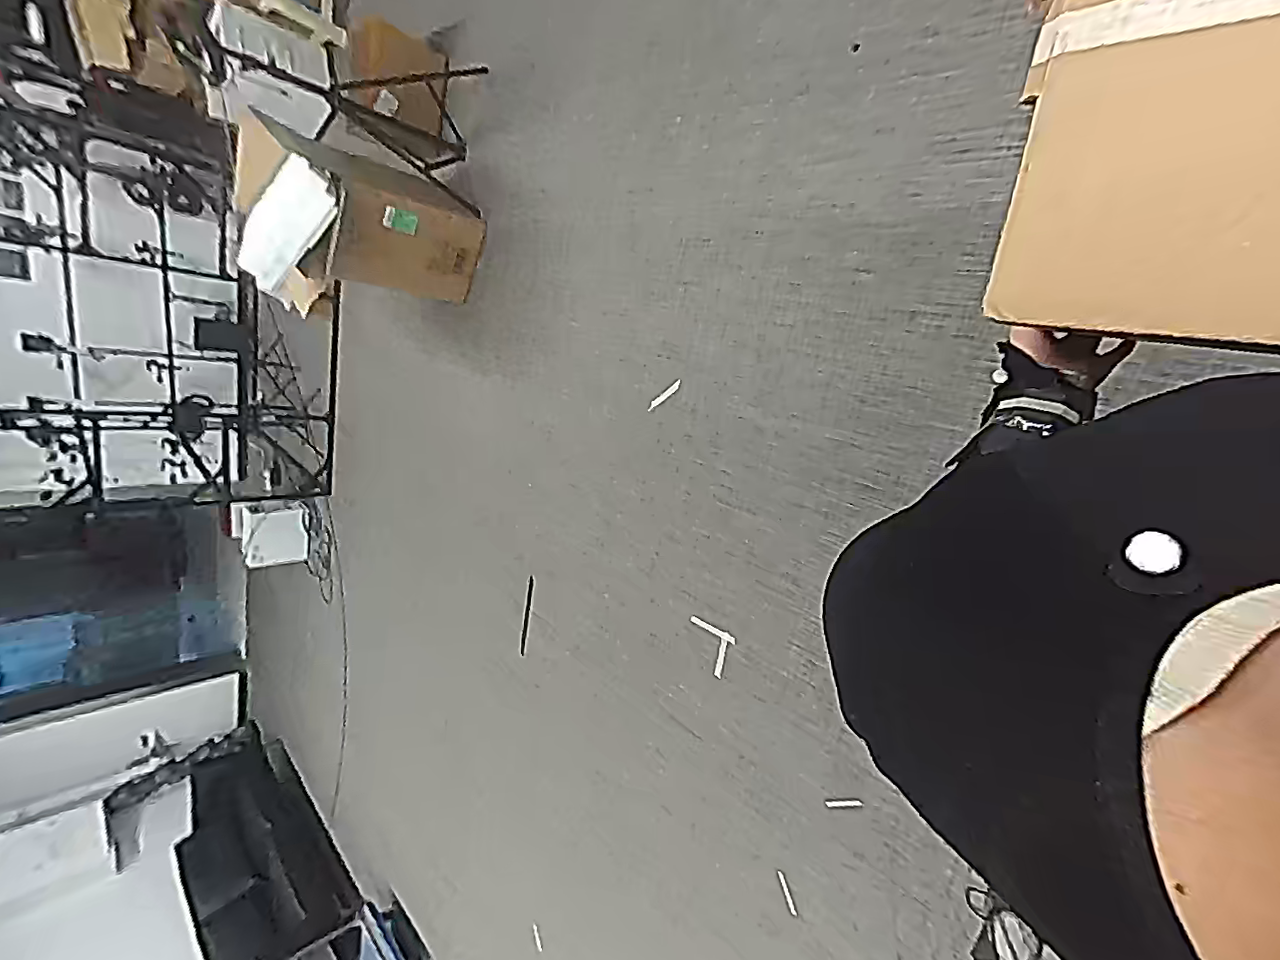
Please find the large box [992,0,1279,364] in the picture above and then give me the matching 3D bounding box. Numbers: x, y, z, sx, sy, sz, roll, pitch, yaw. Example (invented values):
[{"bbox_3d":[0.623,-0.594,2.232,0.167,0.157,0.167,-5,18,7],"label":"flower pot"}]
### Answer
[{"bbox_3d":[0.486,-0.217,0.293,0.408,0.320,0.320,20,114,40],"label":"large box"}]
